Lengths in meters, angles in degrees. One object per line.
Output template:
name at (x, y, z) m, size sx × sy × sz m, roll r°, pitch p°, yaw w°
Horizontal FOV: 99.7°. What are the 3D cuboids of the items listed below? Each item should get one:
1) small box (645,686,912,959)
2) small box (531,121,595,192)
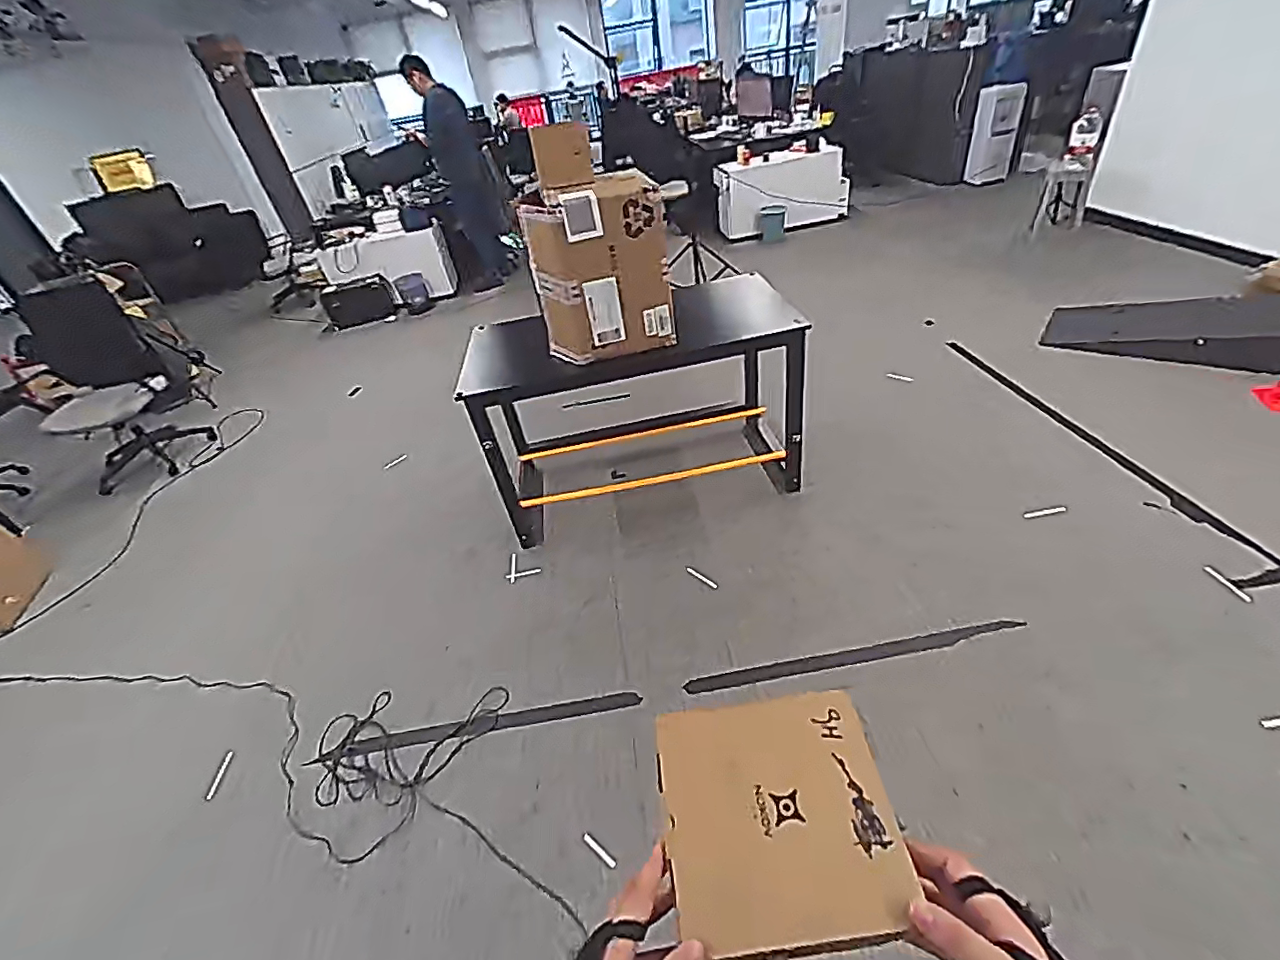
small box at (0.106, 0.309, 0.484) m, size 0.179 × 0.176 × 0.168 m, roll -8°, pitch 45°, yaw 0°
small box at (-0.242, -1.029, 1.718) m, size 0.179 × 0.176 × 0.168 m, roll -13°, pitch 34°, yaw -4°
